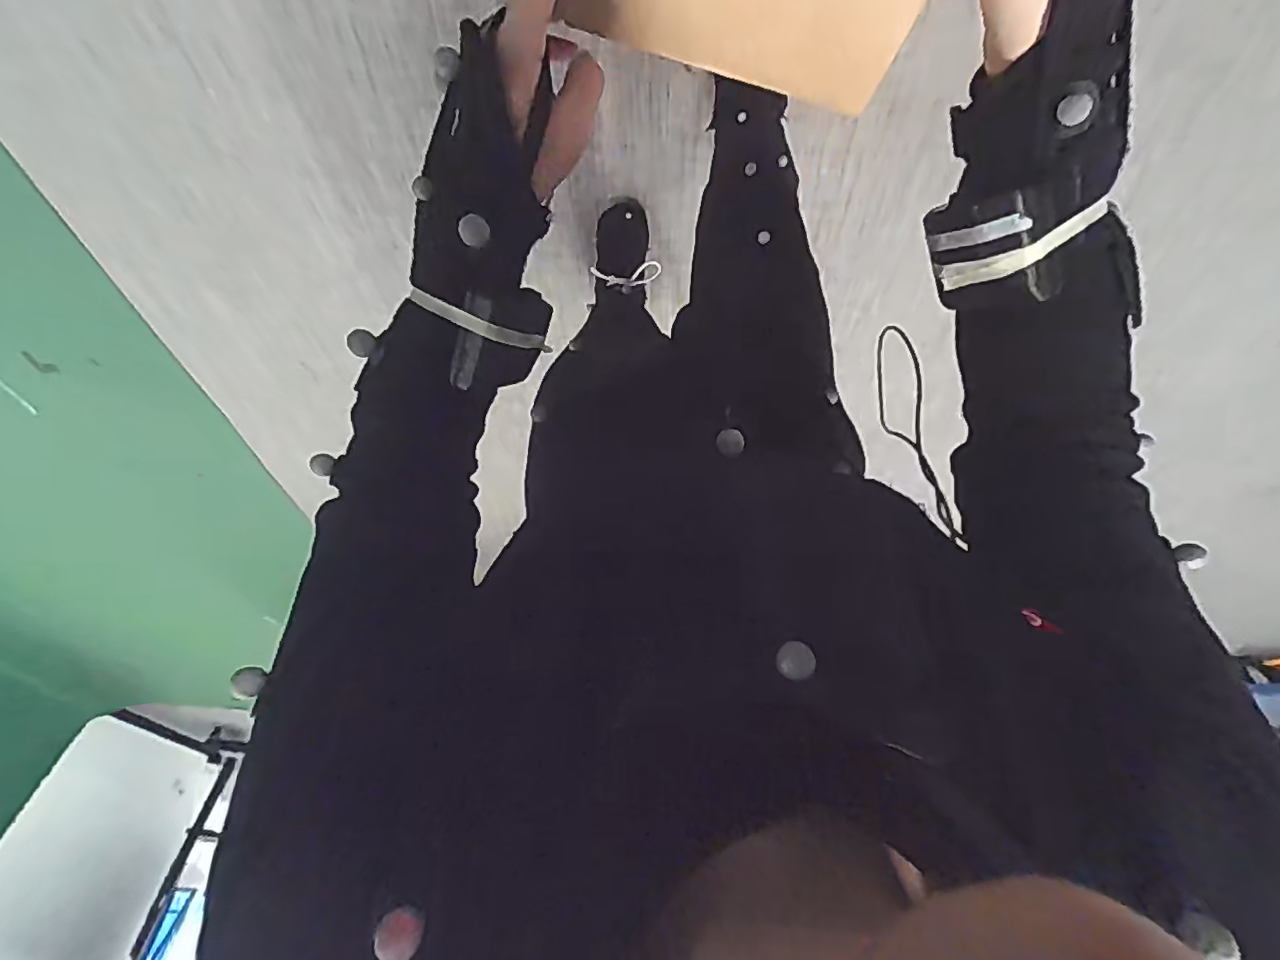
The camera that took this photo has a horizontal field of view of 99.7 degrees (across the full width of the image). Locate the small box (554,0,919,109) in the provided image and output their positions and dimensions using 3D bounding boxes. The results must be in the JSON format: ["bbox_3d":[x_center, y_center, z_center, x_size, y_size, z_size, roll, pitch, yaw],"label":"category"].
[{"bbox_3d":[0.062,-0.331,0.264,0.179,0.176,0.168,9,149,-11],"label":"small box"}]
